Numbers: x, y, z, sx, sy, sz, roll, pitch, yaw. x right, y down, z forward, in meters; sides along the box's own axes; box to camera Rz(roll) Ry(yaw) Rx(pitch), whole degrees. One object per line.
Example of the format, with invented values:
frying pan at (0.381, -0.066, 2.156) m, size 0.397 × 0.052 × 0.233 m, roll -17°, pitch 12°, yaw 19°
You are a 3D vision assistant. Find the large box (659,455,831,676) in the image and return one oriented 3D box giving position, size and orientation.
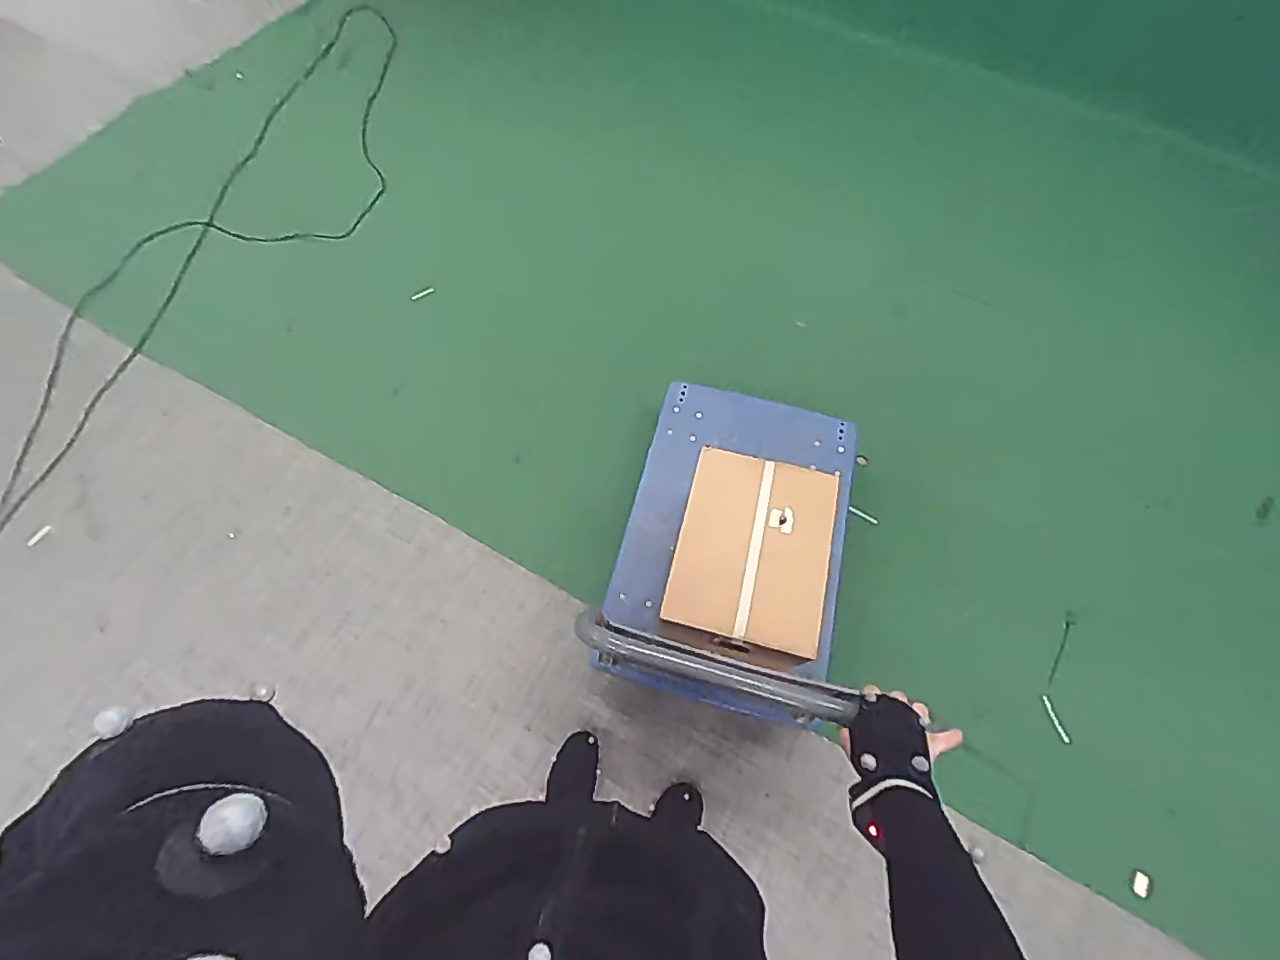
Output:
large box at (0.235, 0.211, 1.278) m, size 0.320 × 0.320 × 0.408 m, roll 14°, pitch 65°, yaw 6°
